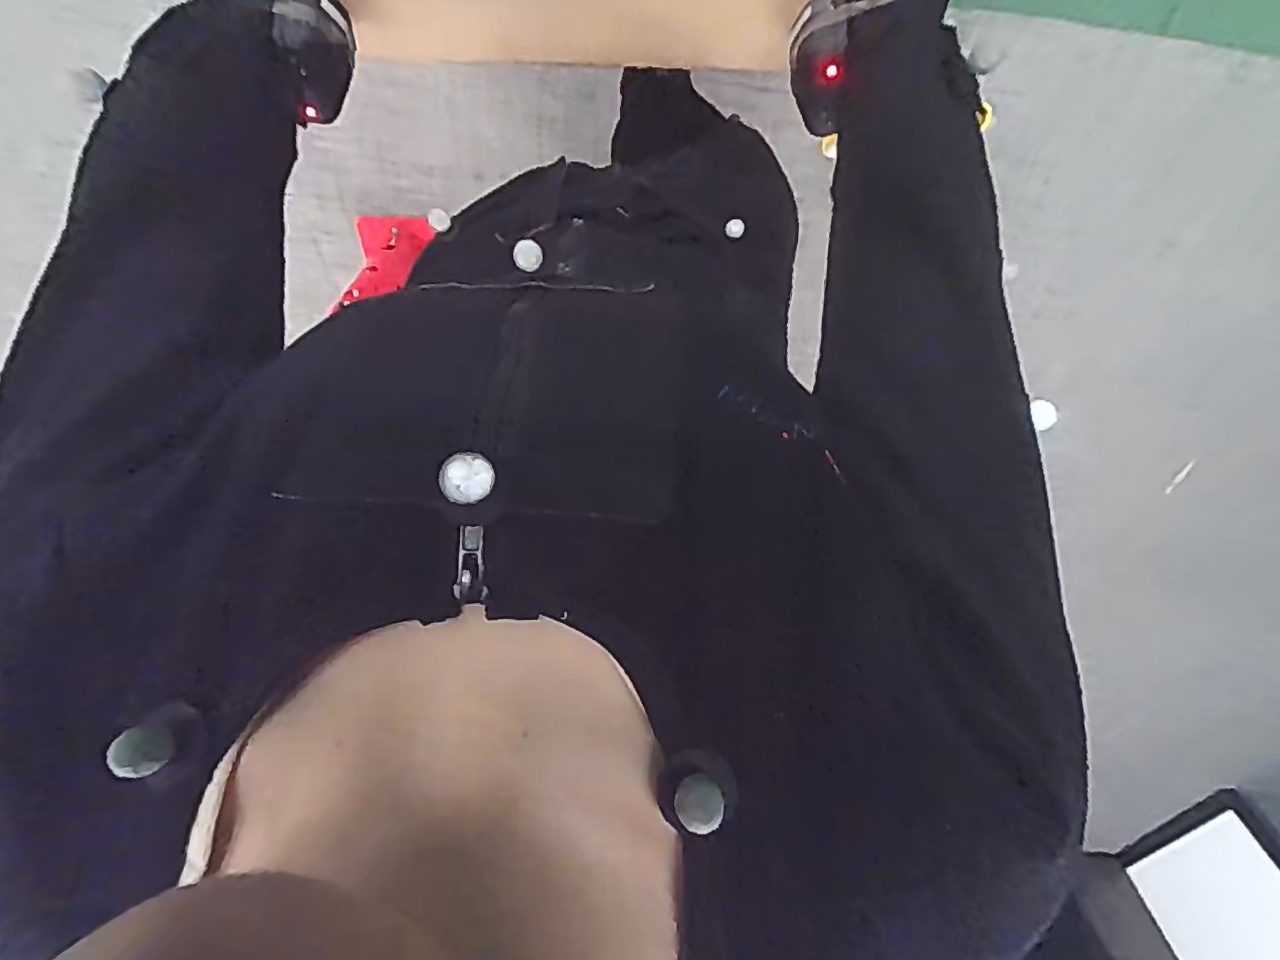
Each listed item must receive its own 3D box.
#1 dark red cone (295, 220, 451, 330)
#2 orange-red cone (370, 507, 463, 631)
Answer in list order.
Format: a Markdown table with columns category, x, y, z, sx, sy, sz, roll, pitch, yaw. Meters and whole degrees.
| category | x | y | z | sx | sy | sz | roll | pitch | yaw |
| --- | --- | --- | --- | --- | --- | --- | --- | --- | --- |
| dark red cone | -0.527 | -0.365 | 1.038 | 0.202 | 0.394 | 0.201 | 1 | 123 | 3 |
| orange-red cone | -0.678 | 0.279 | 1.548 | 0.199 | 0.360 | 0.198 | 24 | 123 | -12 |
